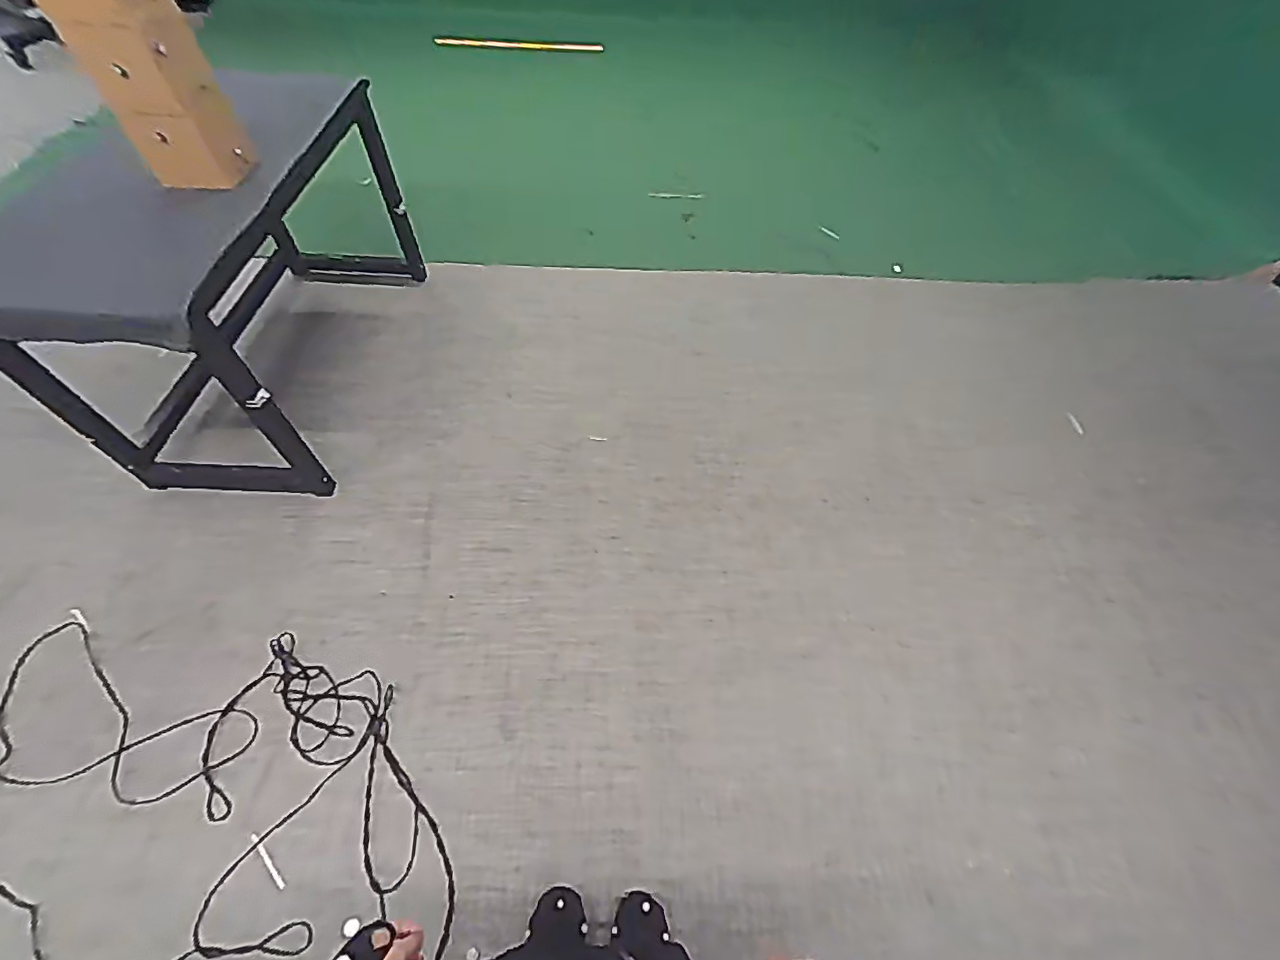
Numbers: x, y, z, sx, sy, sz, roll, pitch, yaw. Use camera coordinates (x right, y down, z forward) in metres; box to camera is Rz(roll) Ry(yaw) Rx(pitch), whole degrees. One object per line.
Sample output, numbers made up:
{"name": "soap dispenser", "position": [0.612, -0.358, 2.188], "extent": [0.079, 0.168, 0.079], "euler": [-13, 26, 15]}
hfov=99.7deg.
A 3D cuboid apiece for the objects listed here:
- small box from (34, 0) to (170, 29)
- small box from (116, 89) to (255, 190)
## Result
{"name": "small box", "position": [-1.124, -1.038, 1.088], "extent": [0.179, 0.176, 0.168], "euler": [4, 55, 1]}
{"name": "small box", "position": [-1.124, -0.850, 1.355], "extent": [0.179, 0.176, 0.168], "euler": [1, 56, -1]}
